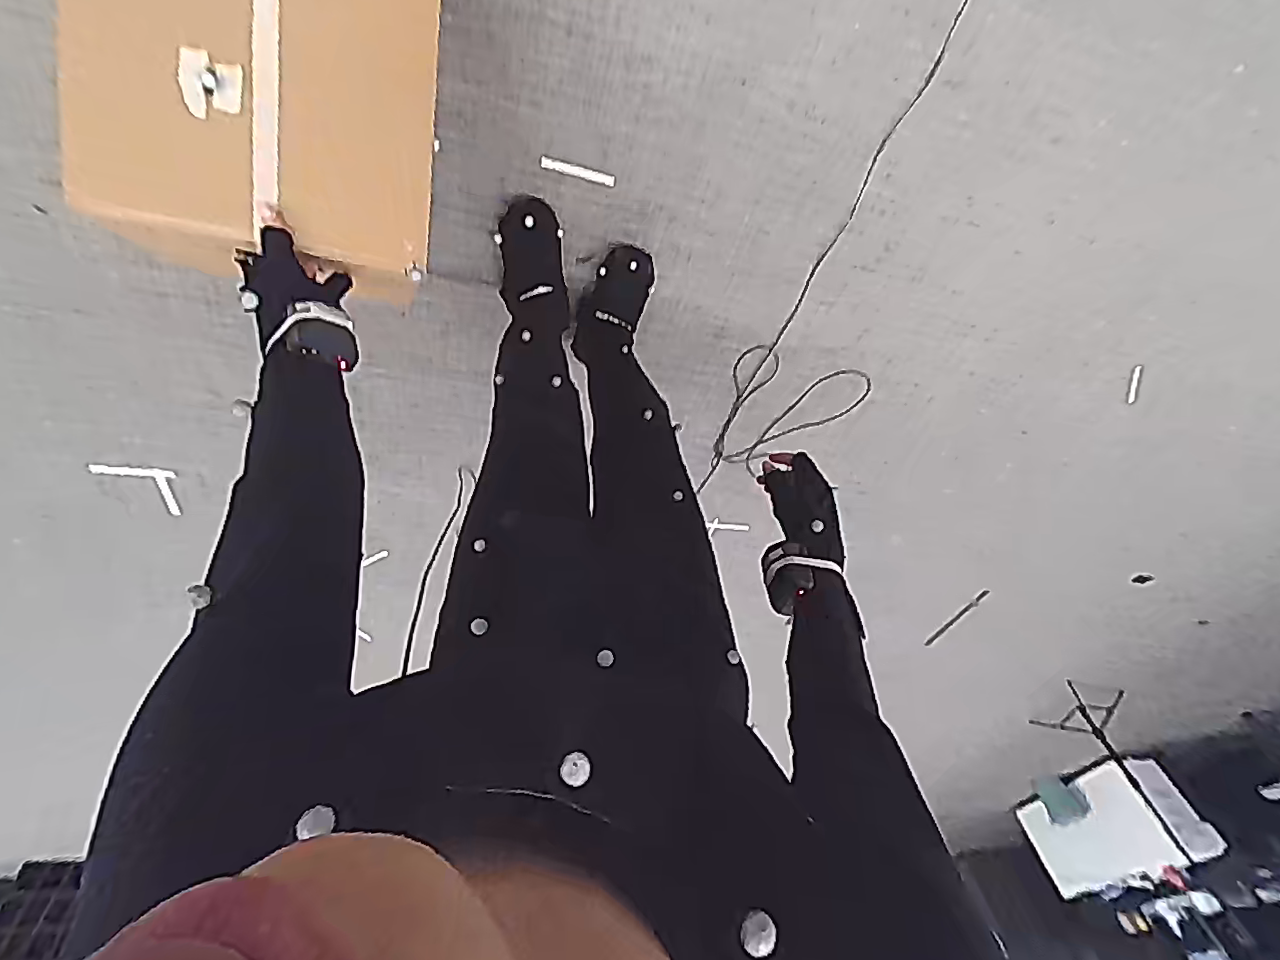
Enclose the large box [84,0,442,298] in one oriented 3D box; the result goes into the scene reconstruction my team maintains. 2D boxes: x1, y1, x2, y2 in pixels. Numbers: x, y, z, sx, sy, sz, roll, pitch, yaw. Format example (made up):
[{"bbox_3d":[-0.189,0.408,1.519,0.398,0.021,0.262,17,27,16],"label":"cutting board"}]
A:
[{"bbox_3d":[-0.437,-0.478,0.696,0.320,0.320,0.408,3,101,-24],"label":"large box"}]
